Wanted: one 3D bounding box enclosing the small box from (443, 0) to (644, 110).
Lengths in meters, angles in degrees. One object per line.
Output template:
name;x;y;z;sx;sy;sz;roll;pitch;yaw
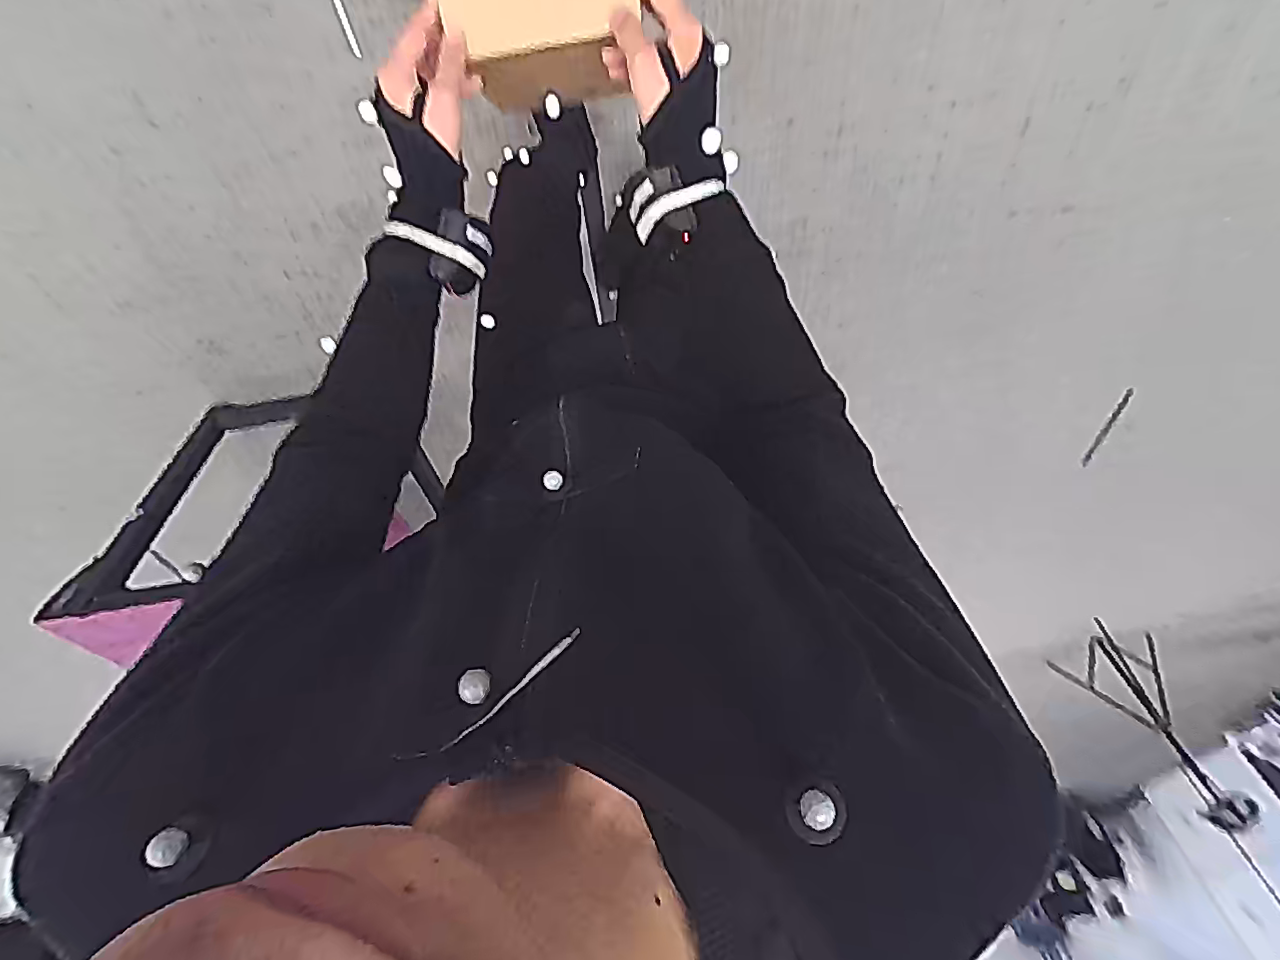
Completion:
small box;-0.087;-0.479;0.501;0.168;0.176;0.179;-7;109;4
